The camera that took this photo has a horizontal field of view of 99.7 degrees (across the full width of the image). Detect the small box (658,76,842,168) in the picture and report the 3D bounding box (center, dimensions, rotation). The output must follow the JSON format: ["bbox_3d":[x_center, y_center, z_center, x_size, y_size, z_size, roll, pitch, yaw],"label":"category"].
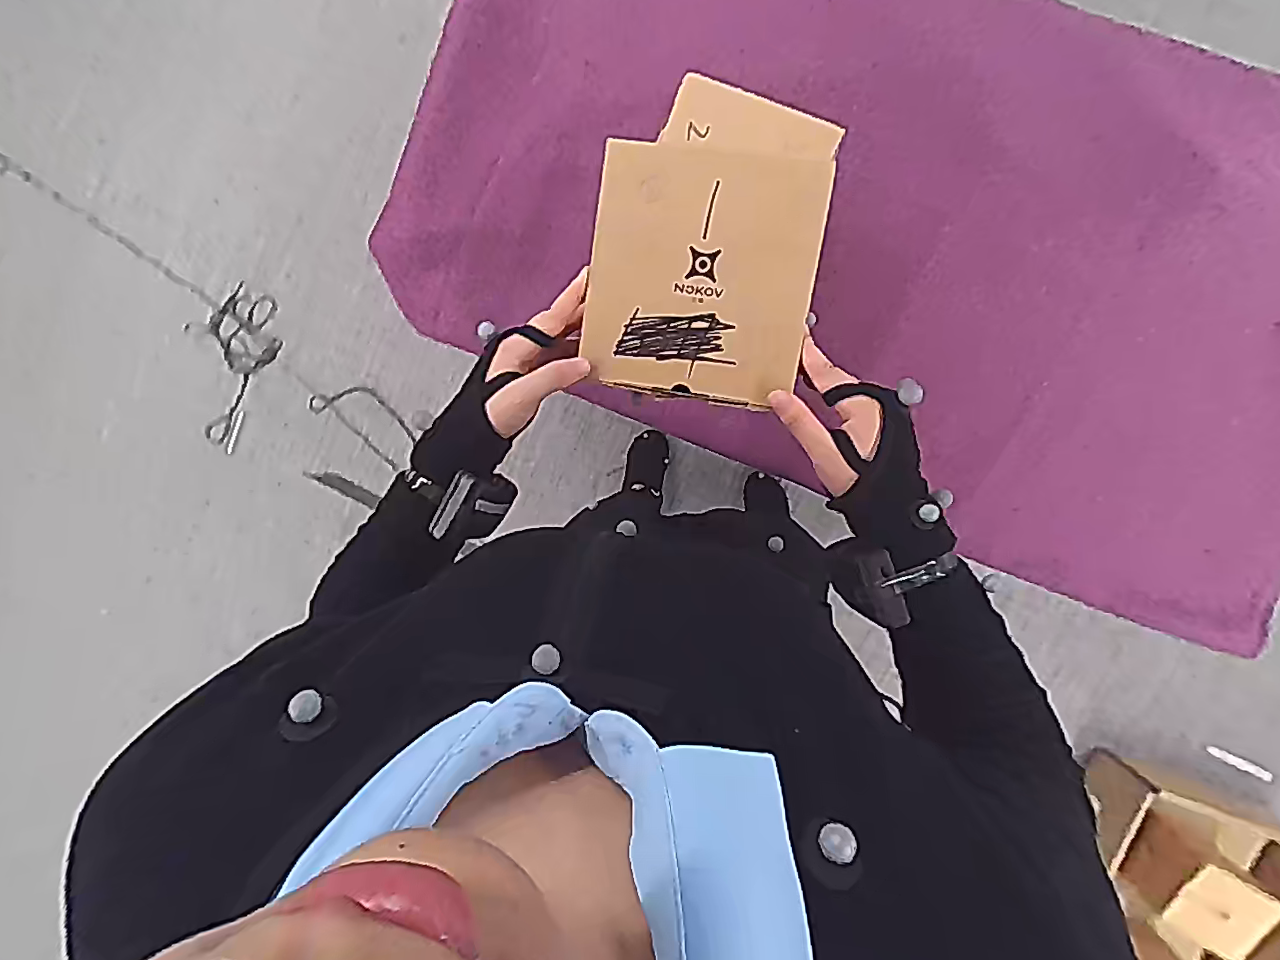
[{"bbox_3d":[0.103,-0.312,0.632,0.179,0.176,0.168,25,97,6],"label":"small box"}]

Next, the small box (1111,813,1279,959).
[{"bbox_3d":[1.253,0.913,1.233,0.179,0.176,0.168,30,100,5],"label":"small box"}]

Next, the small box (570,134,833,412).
[{"bbox_3d":[0.050,-0.158,0.469,0.168,0.176,0.179,11,98,5],"label":"small box"}]
